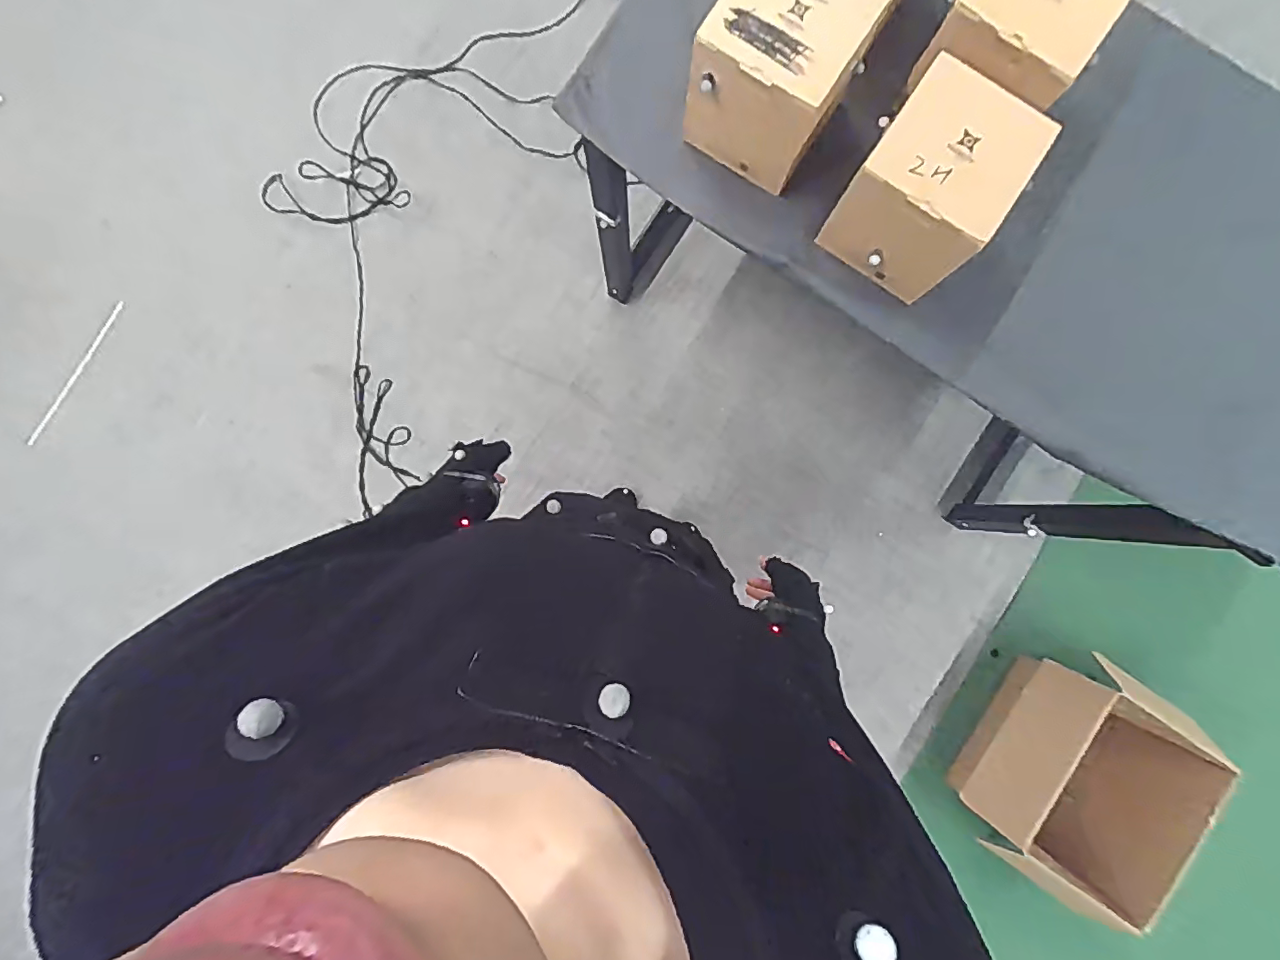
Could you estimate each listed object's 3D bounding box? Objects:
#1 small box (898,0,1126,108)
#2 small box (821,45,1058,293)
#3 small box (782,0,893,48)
[{"bbox_3d":[0.477,-0.577,0.703,0.168,0.176,0.179,35,89,0],"label":"small box"},{"bbox_3d":[0.362,-0.379,0.691,0.168,0.176,0.179,34,87,1],"label":"small box"},{"bbox_3d":[0.292,-0.730,0.705,0.168,0.176,0.179,32,88,0],"label":"small box"}]
